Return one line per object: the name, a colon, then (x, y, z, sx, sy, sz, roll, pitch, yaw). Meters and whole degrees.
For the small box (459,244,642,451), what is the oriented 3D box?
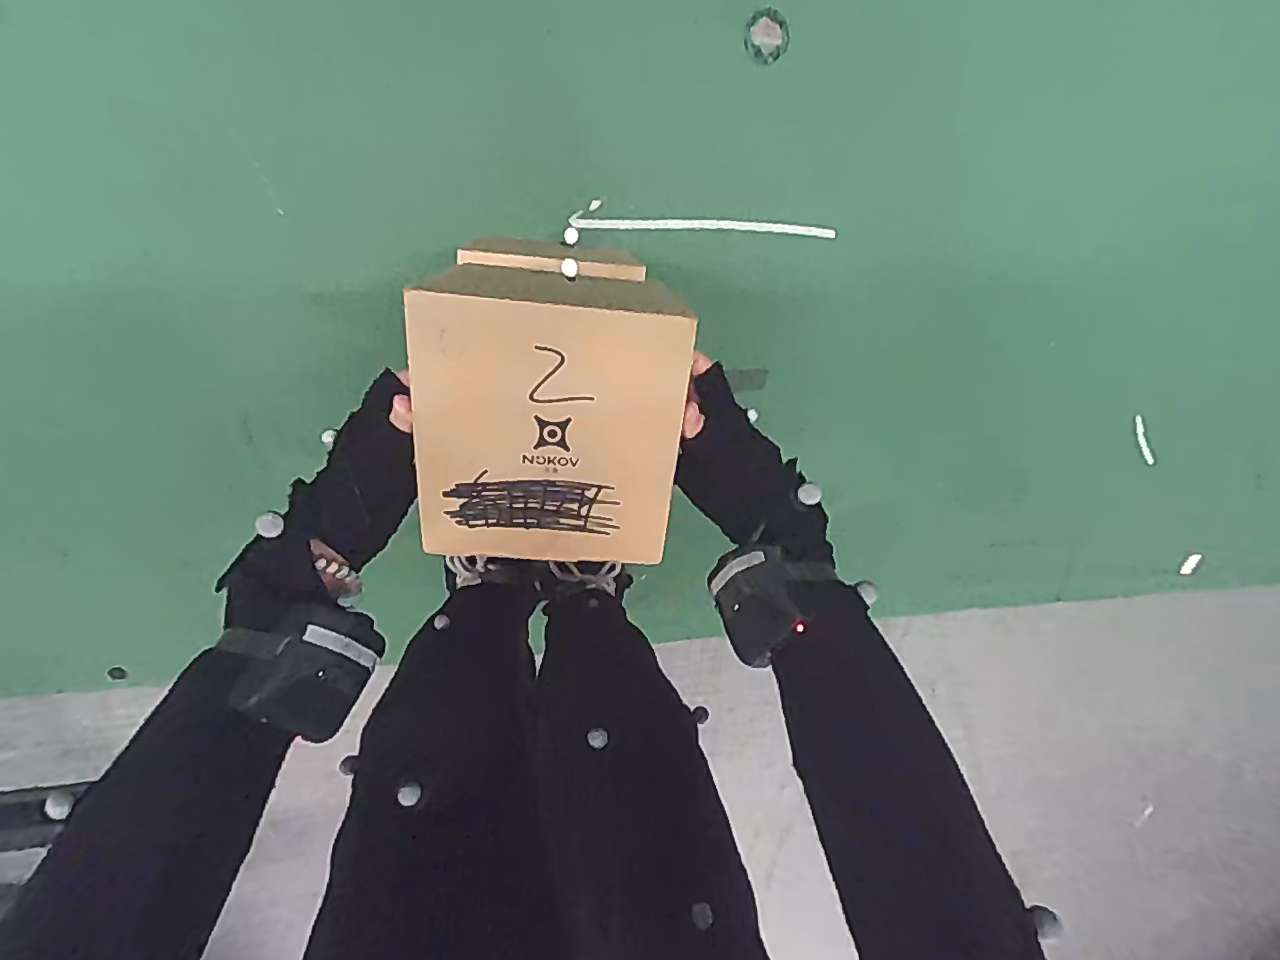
small box: (-0.098, -0.148, 0.590, 0.168, 0.176, 0.179, 1, 118, -11)
